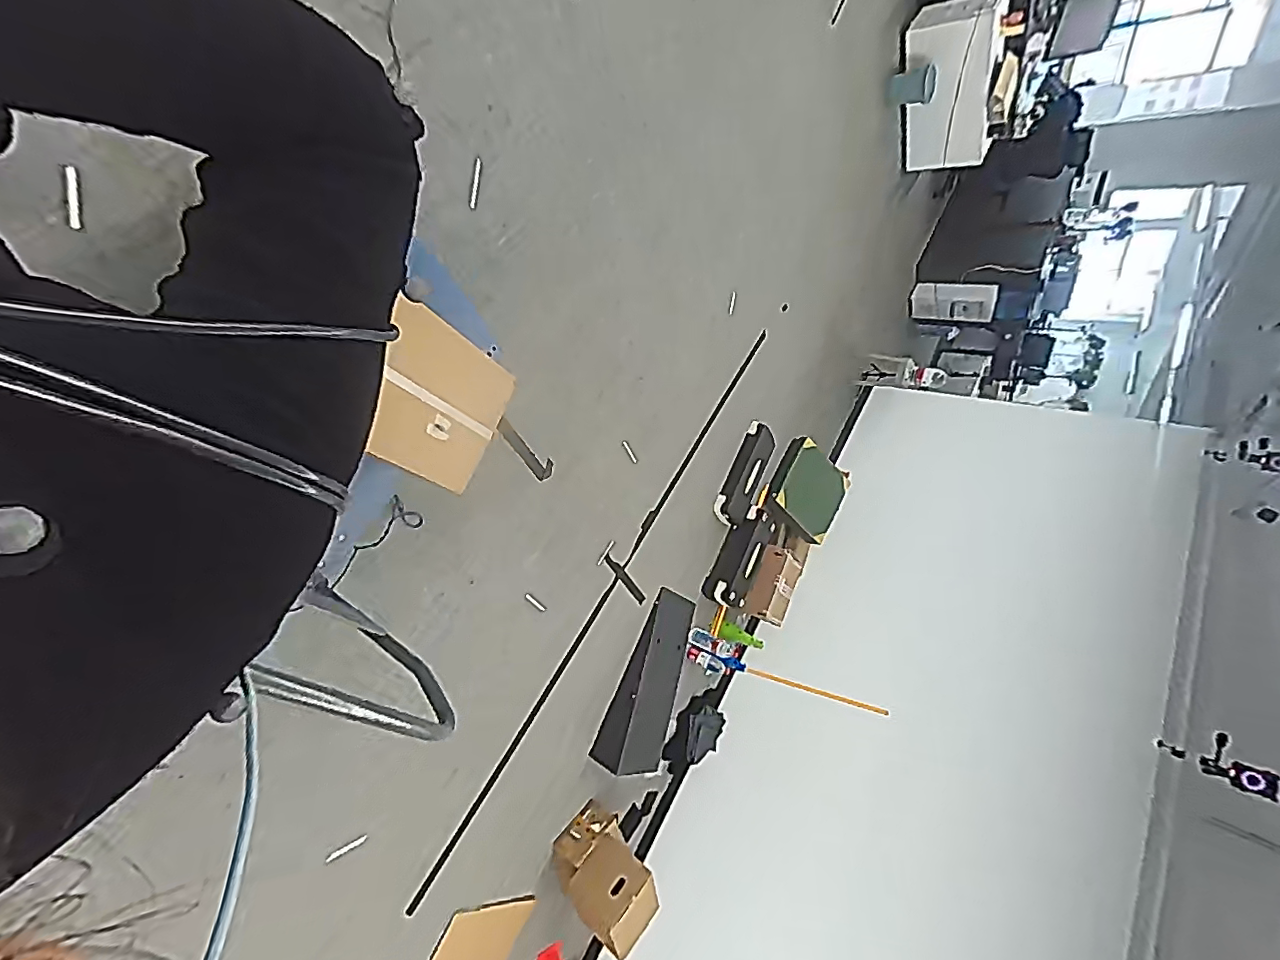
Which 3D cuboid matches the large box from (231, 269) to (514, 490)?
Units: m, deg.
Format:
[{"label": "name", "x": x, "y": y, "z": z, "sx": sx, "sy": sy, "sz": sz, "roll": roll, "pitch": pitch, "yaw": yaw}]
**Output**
[{"label": "large box", "x": -0.574, "y": -0.215, "z": 1.203, "sx": 0.408, "sy": 0.320, "sz": 0.320, "roll": 38, "pitch": 73, "yaw": -54}]
